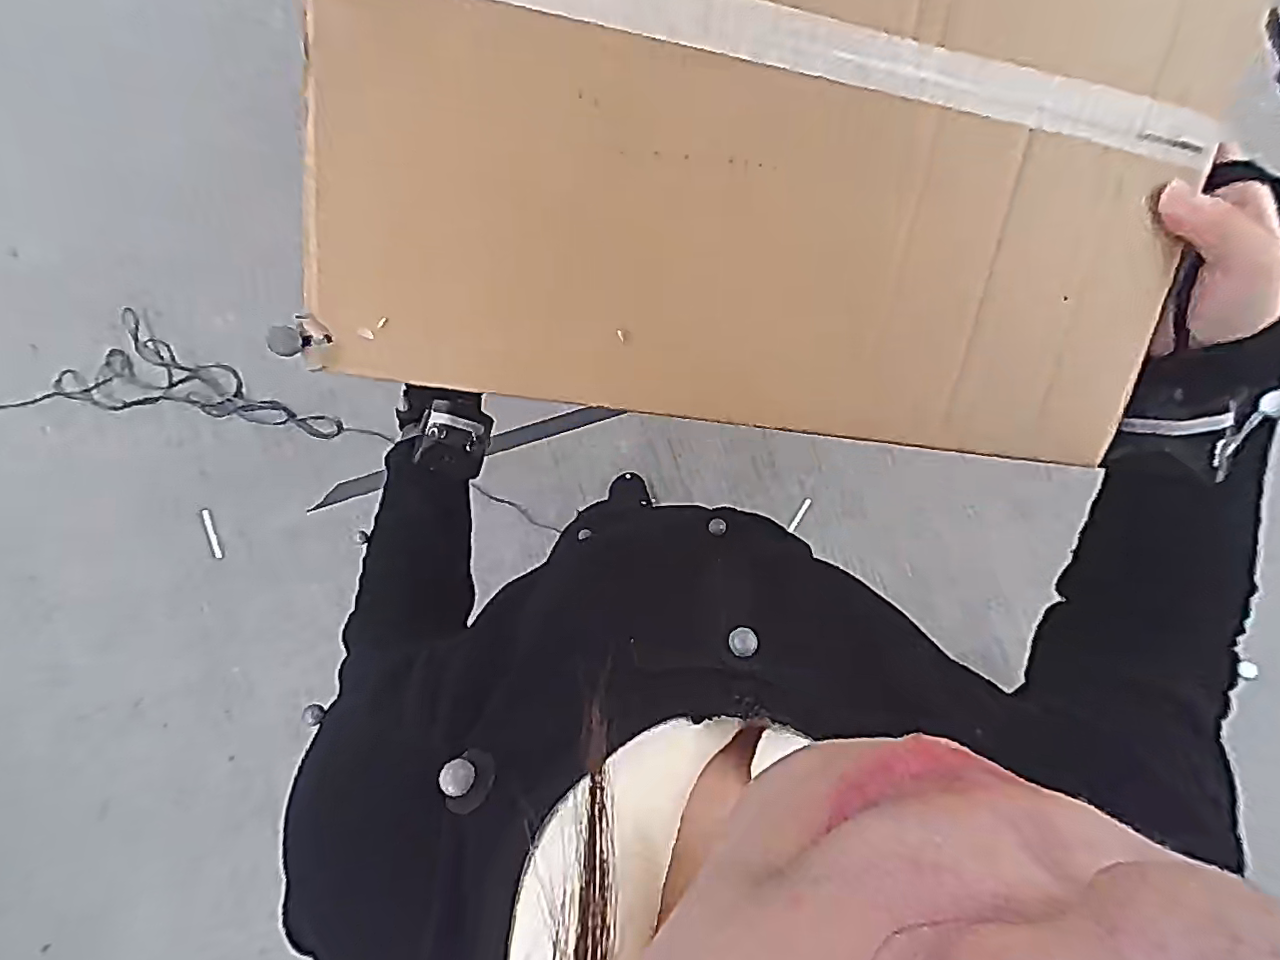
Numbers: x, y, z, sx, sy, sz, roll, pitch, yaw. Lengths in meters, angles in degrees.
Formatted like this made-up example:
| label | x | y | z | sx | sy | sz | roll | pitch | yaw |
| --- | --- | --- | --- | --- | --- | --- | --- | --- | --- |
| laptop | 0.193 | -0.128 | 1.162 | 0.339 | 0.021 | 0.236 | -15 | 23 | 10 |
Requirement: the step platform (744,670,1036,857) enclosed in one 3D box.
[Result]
| label | x | y | z | sx | sy | sz | roll | pitch | yaw |
| --- | --- | --- | --- | --- | --- | --- | --- | --- | --- |
| step platform | 0.632 | 0.721 | 1.396 | 0.684 | 0.204 | 0.286 | -12 | 89 | -2 |

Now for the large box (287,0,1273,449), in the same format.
| label | x | y | z | sx | sy | sz | roll | pitch | yaw |
| --- | --- | --- | --- | --- | --- | --- | --- | --- | --- |
| large box | 0.054 | -0.218 | 0.363 | 0.408 | 0.320 | 0.320 | 5 | 104 | -8 |
